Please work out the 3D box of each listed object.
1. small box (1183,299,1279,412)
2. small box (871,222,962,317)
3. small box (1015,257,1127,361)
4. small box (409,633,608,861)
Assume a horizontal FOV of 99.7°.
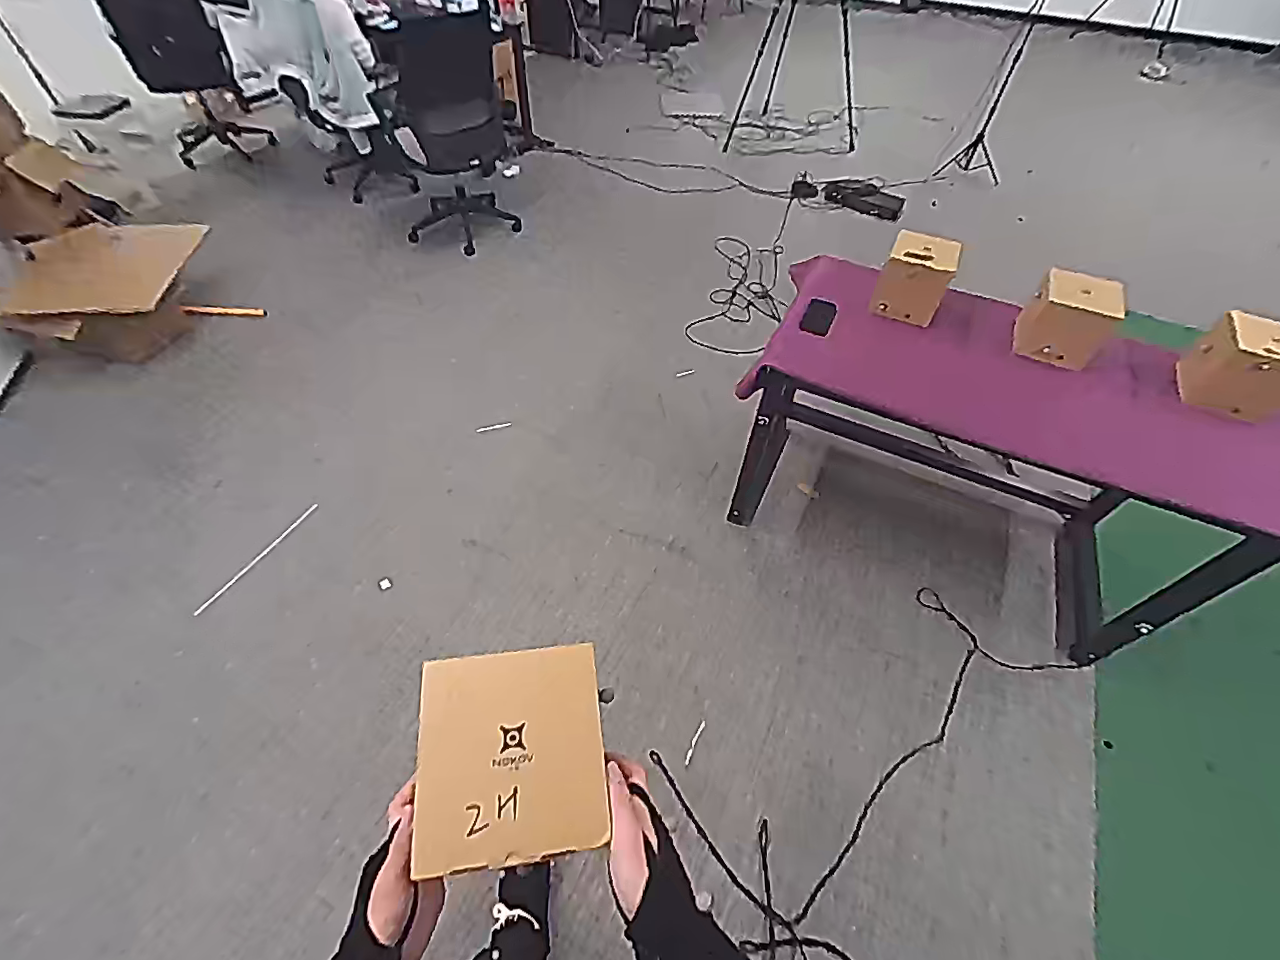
[{"bbox_3d":[1.447,-0.295,1.282,0.168,0.176,0.179,23,54,17],"label":"small box"},{"bbox_3d":[0.757,-0.578,1.492,0.168,0.176,0.179,21,54,15],"label":"small box"},{"bbox_3d":[1.101,-0.438,1.392,0.168,0.176,0.179,22,55,17],"label":"small box"},{"bbox_3d":[-0.125,0.275,0.561,0.168,0.176,0.179,-4,60,-8],"label":"small box"}]
